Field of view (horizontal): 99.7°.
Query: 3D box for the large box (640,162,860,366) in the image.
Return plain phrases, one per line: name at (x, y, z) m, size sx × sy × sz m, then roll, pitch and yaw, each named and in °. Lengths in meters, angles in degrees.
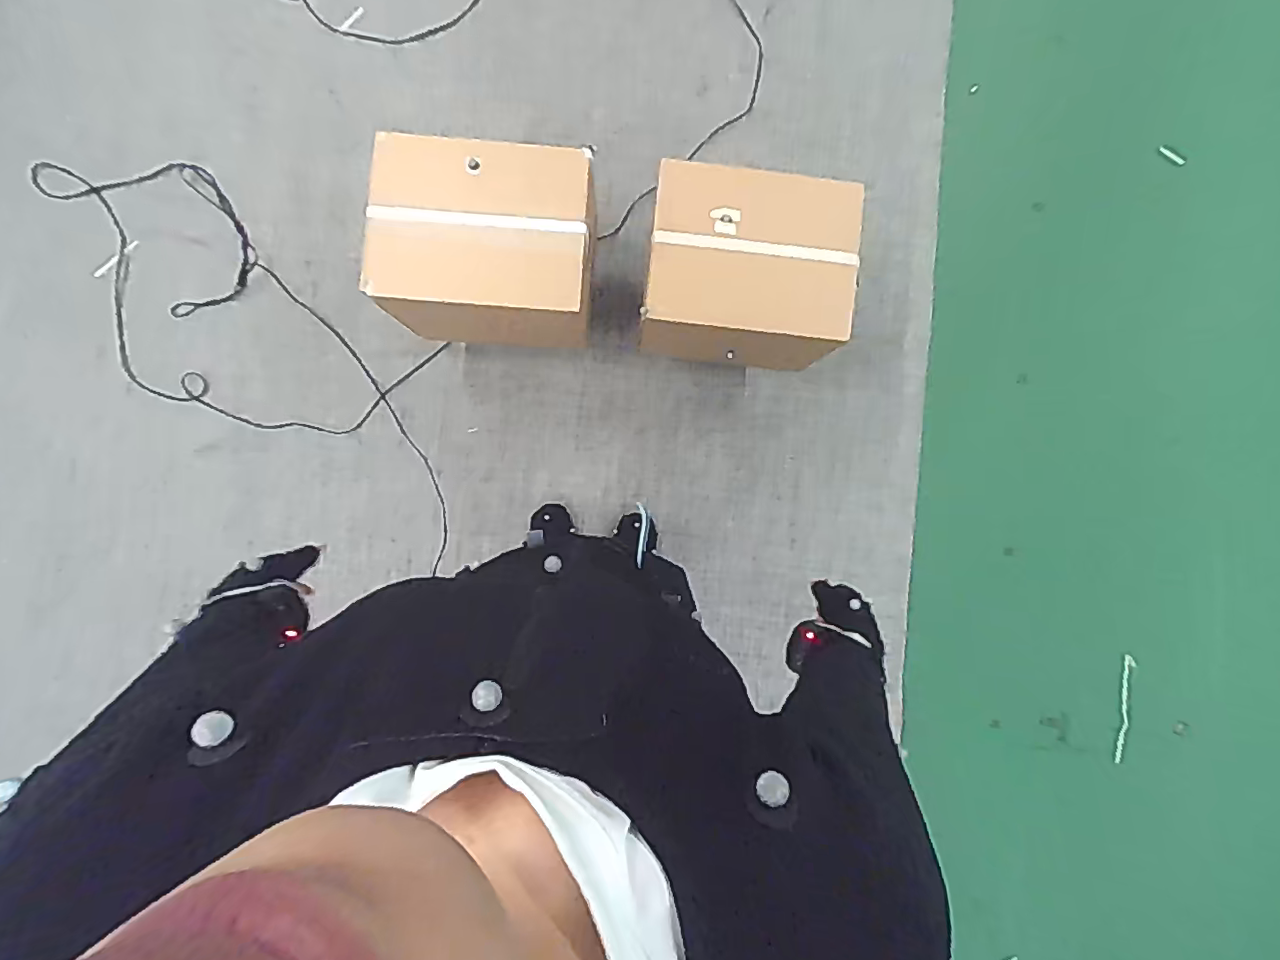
large box at (0.219, -0.450, 1.204) m, size 0.408 × 0.320 × 0.320 m, roll 6°, pitch 90°, yaw -2°
